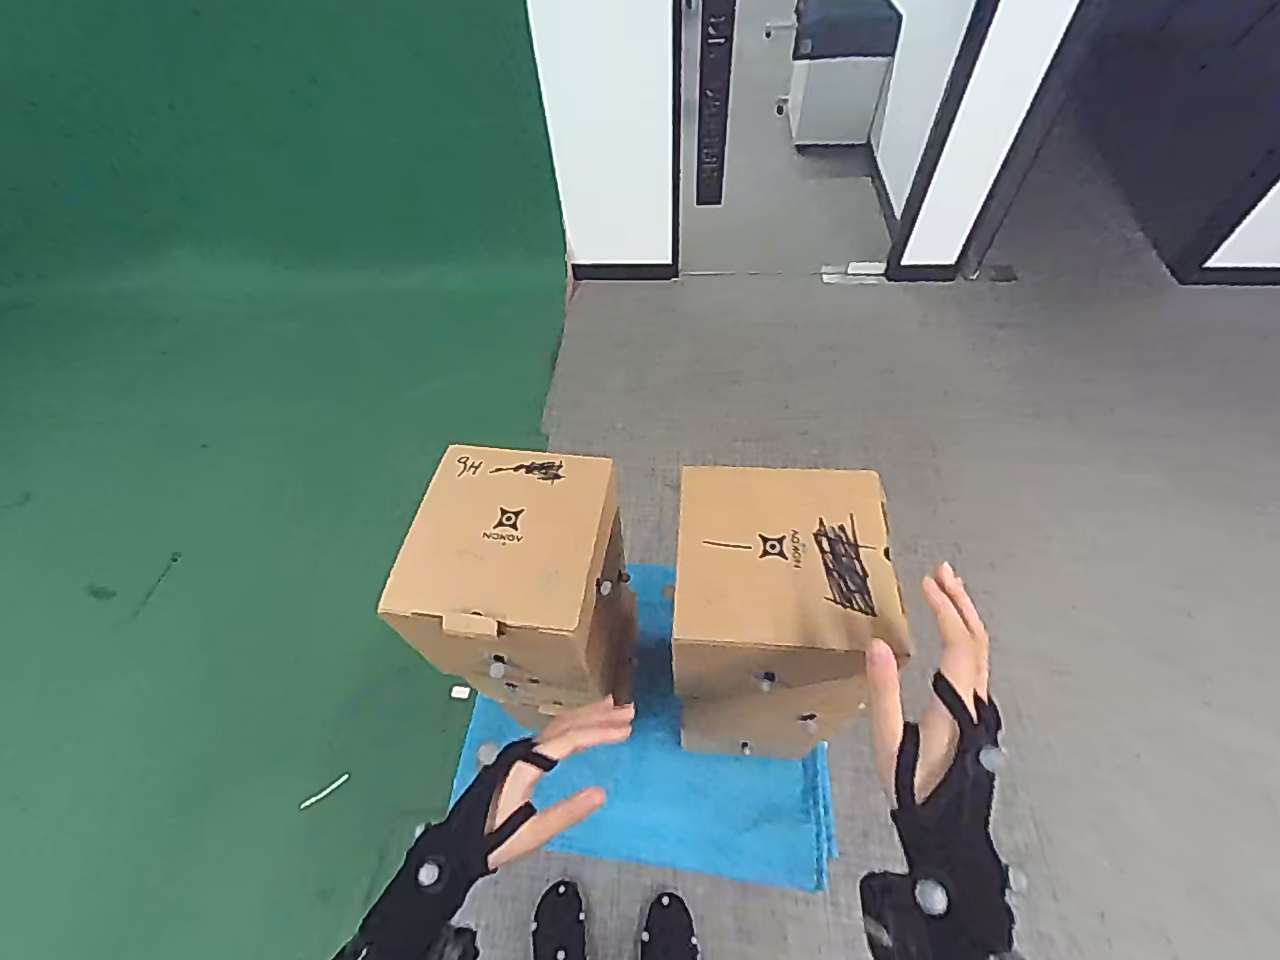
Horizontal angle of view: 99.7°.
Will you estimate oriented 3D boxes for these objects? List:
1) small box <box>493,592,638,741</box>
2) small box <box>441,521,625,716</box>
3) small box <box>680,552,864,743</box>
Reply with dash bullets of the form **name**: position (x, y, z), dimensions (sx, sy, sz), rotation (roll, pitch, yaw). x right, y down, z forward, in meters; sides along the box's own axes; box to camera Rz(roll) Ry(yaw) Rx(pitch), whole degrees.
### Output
- **small box**: position (-0.095, 0.271, 0.800), dimensions (0.168, 0.176, 0.179), rotation (6, 54, 6)
- **small box**: position (-0.114, 0.175, 0.670), dimensions (0.168, 0.176, 0.179), rotation (6, 53, 7)
- **small box**: position (0.140, 0.200, 0.632), dimensions (0.179, 0.176, 0.168), rotation (2, 53, 6)
